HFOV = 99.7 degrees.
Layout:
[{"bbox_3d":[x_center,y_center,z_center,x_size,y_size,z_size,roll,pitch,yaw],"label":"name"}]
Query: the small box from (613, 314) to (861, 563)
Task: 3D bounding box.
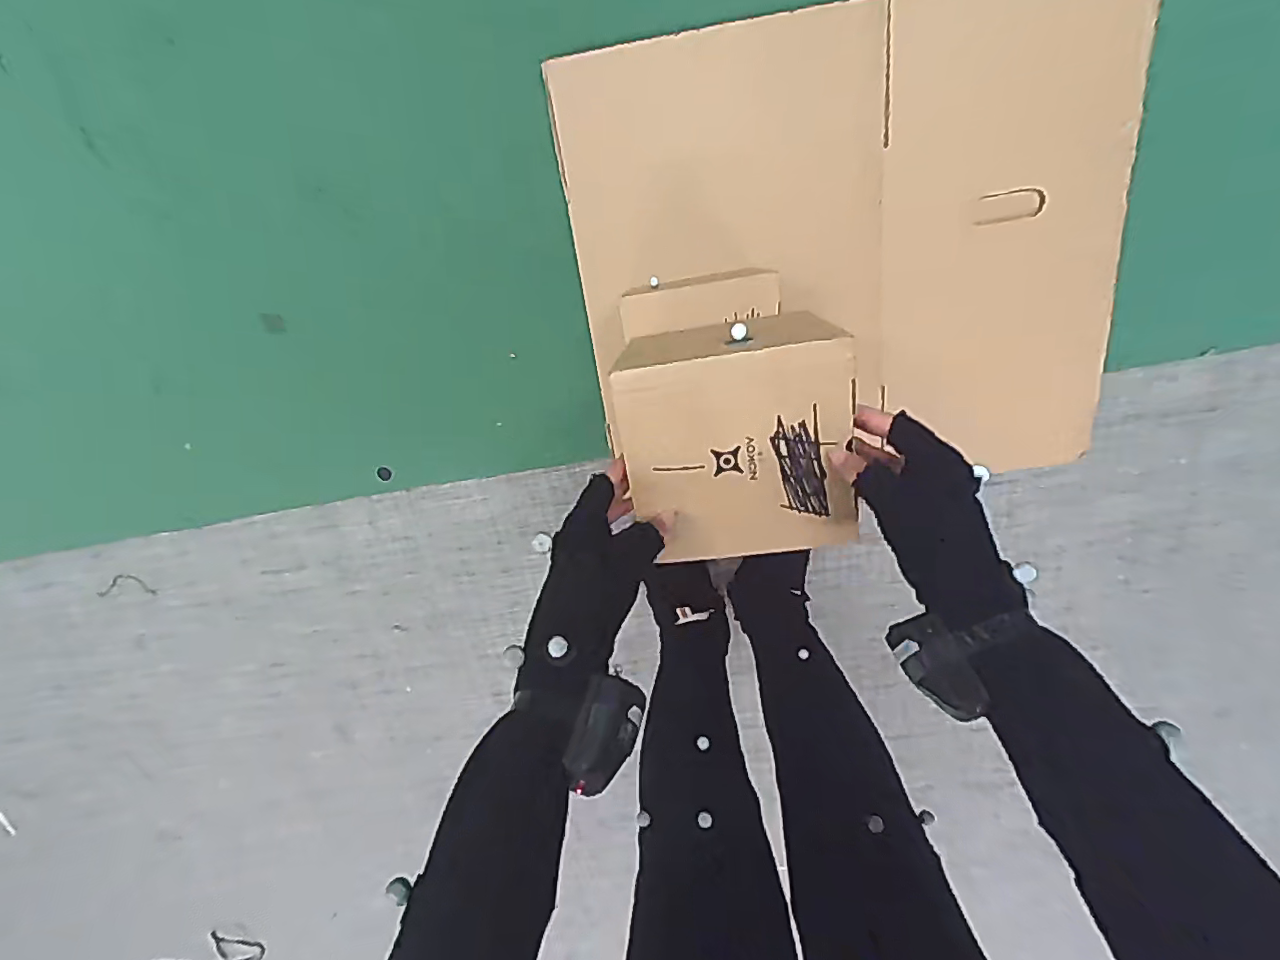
[{"bbox_3d":[0.084,-0.046,0.483,0.179,0.176,0.168,-6,112,9],"label":"small box"}]
